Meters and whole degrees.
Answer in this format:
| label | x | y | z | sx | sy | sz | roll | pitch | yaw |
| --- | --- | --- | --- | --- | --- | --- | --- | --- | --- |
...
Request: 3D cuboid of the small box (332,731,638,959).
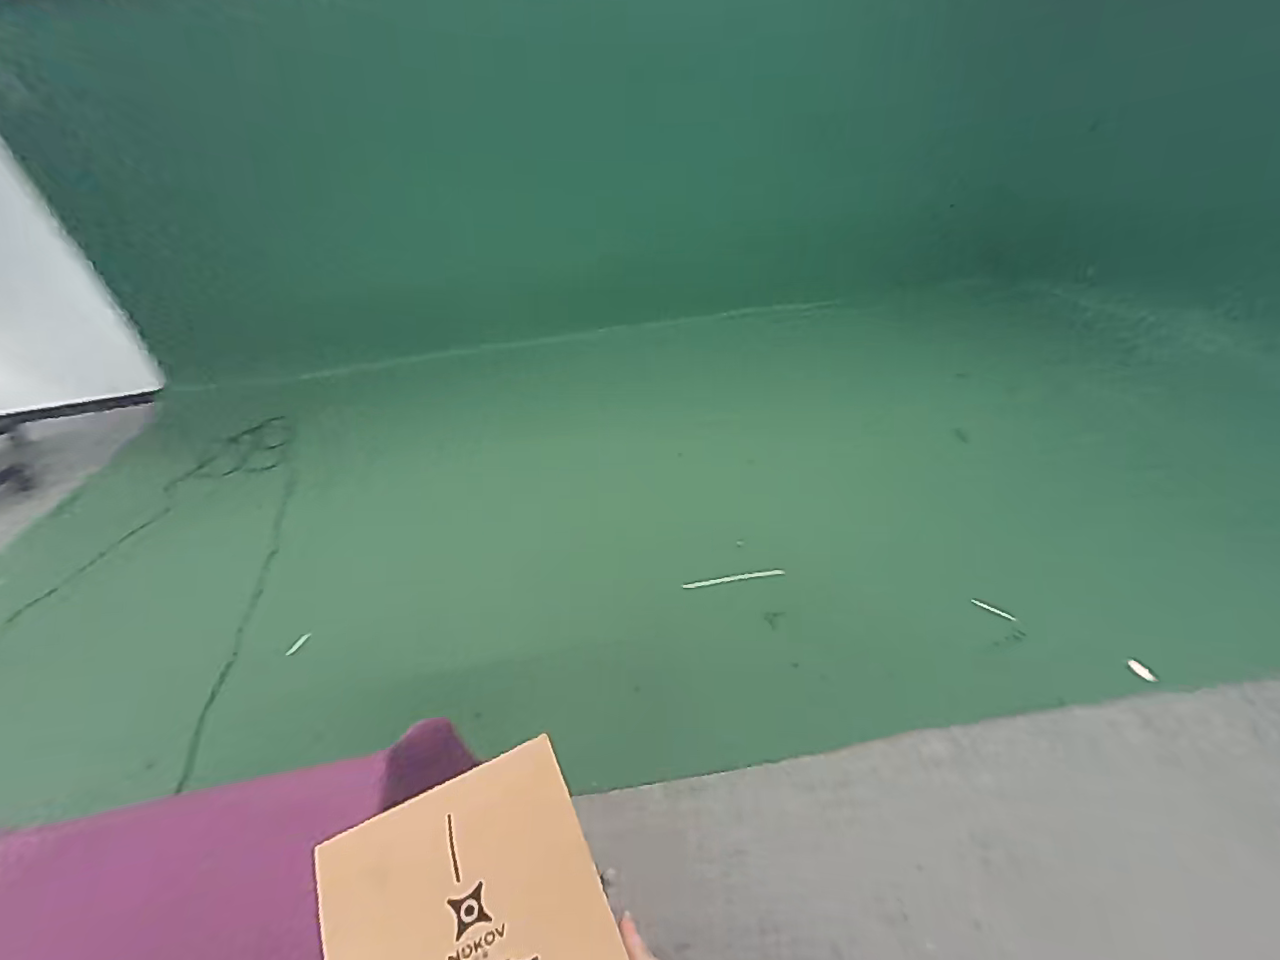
| label | x | y | z | sx | sy | sz | roll | pitch | yaw |
| --- | --- | --- | --- | --- | --- | --- | --- | --- | --- |
| small box | -0.103 | 0.326 | 0.404 | 0.168 | 0.176 | 0.179 | -19 | 53 | -18 |
